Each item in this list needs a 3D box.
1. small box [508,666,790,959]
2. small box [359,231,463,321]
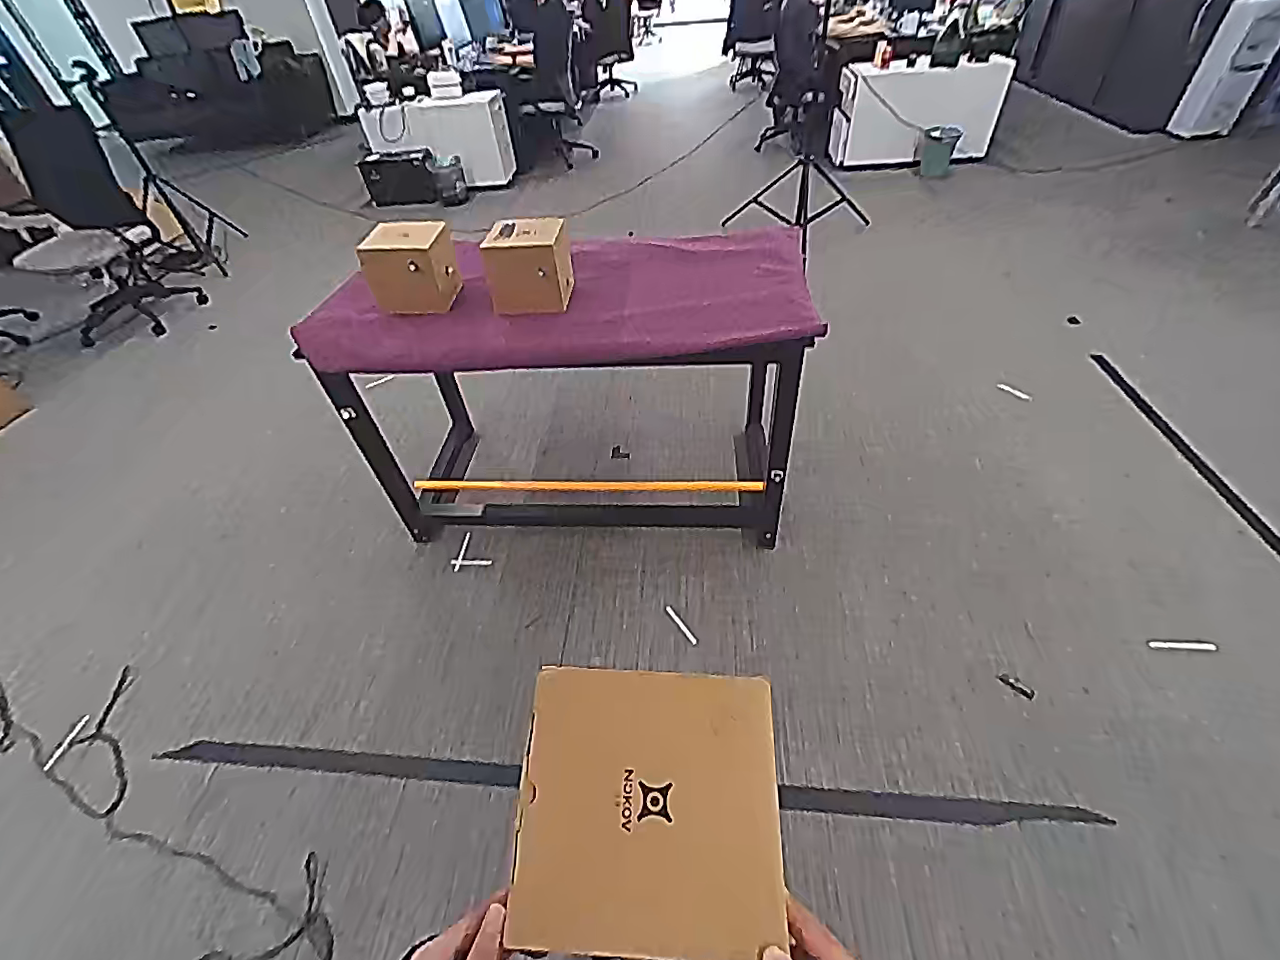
[{"bbox_3d":[0.012,0.254,0.437,0.179,0.176,0.168,0,60,4],"label":"small box"},{"bbox_3d":[-0.571,-0.518,1.379,0.179,0.176,0.168,0,44,2],"label":"small box"}]
